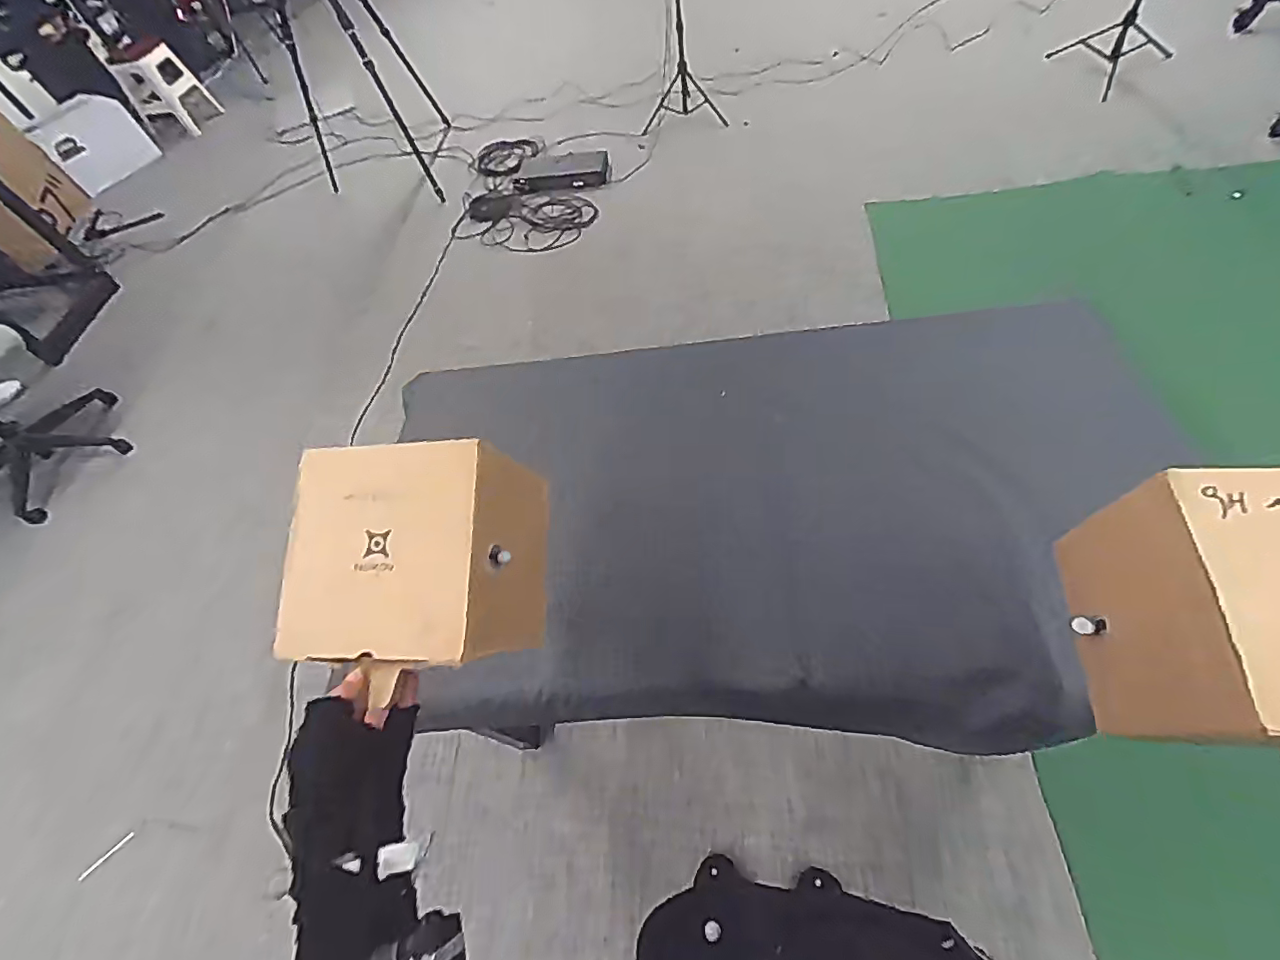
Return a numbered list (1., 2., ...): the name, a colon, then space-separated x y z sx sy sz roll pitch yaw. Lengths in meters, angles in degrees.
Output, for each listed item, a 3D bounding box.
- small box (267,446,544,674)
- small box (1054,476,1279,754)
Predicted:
1. small box: -0.196 0.078 0.502 0.168 0.176 0.179 -3 75 9
2. small box: 0.460 0.110 0.407 0.168 0.176 0.179 0 65 10
